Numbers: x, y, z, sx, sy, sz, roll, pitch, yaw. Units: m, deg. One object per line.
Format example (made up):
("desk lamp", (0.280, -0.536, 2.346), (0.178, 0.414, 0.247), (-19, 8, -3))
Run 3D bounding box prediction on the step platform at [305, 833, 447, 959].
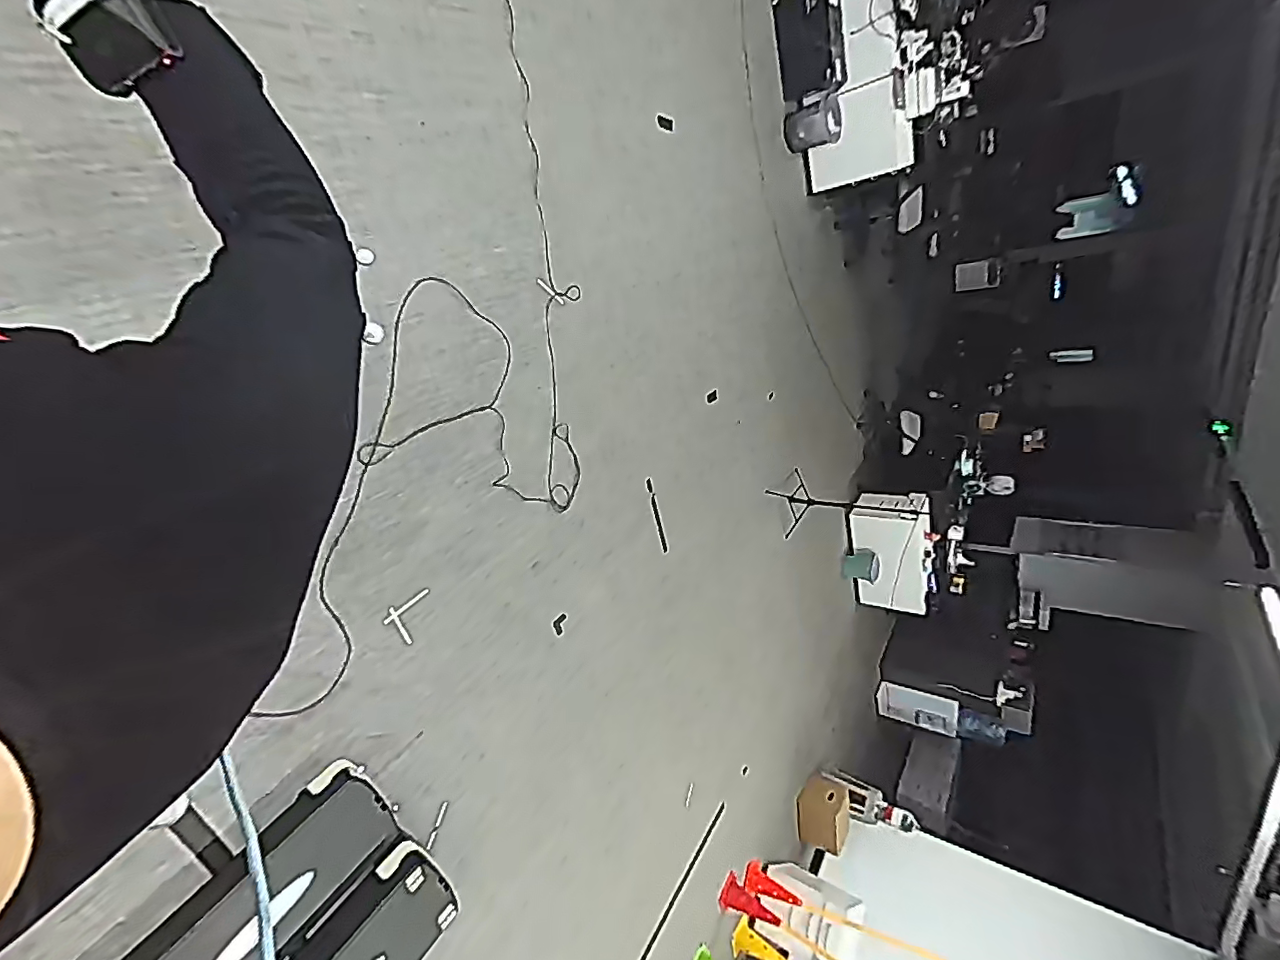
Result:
("step platform", (-0.840, 1.319, 1.389), (0.684, 0.204, 0.286), (-42, 124, -40))
